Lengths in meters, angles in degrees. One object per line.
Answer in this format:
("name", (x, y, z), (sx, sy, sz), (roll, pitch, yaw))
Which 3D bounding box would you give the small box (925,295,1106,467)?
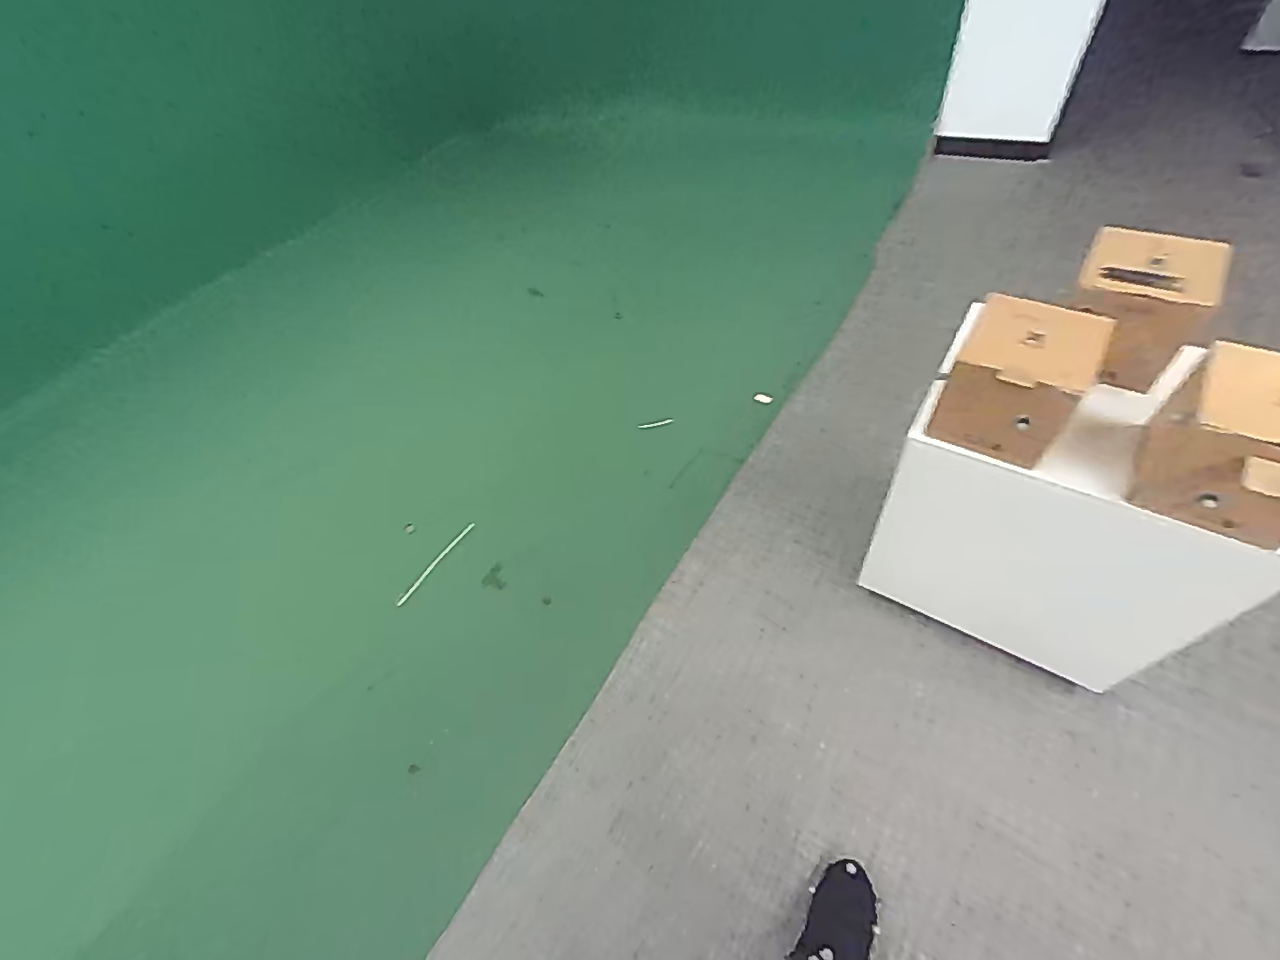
("small box", (0.566, -0.150, 0.836), (0.168, 0.176, 0.179), (26, 60, 26))

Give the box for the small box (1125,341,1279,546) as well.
("small box", (0.790, -0.047, 0.712), (0.168, 0.176, 0.179), (25, 61, 27))
